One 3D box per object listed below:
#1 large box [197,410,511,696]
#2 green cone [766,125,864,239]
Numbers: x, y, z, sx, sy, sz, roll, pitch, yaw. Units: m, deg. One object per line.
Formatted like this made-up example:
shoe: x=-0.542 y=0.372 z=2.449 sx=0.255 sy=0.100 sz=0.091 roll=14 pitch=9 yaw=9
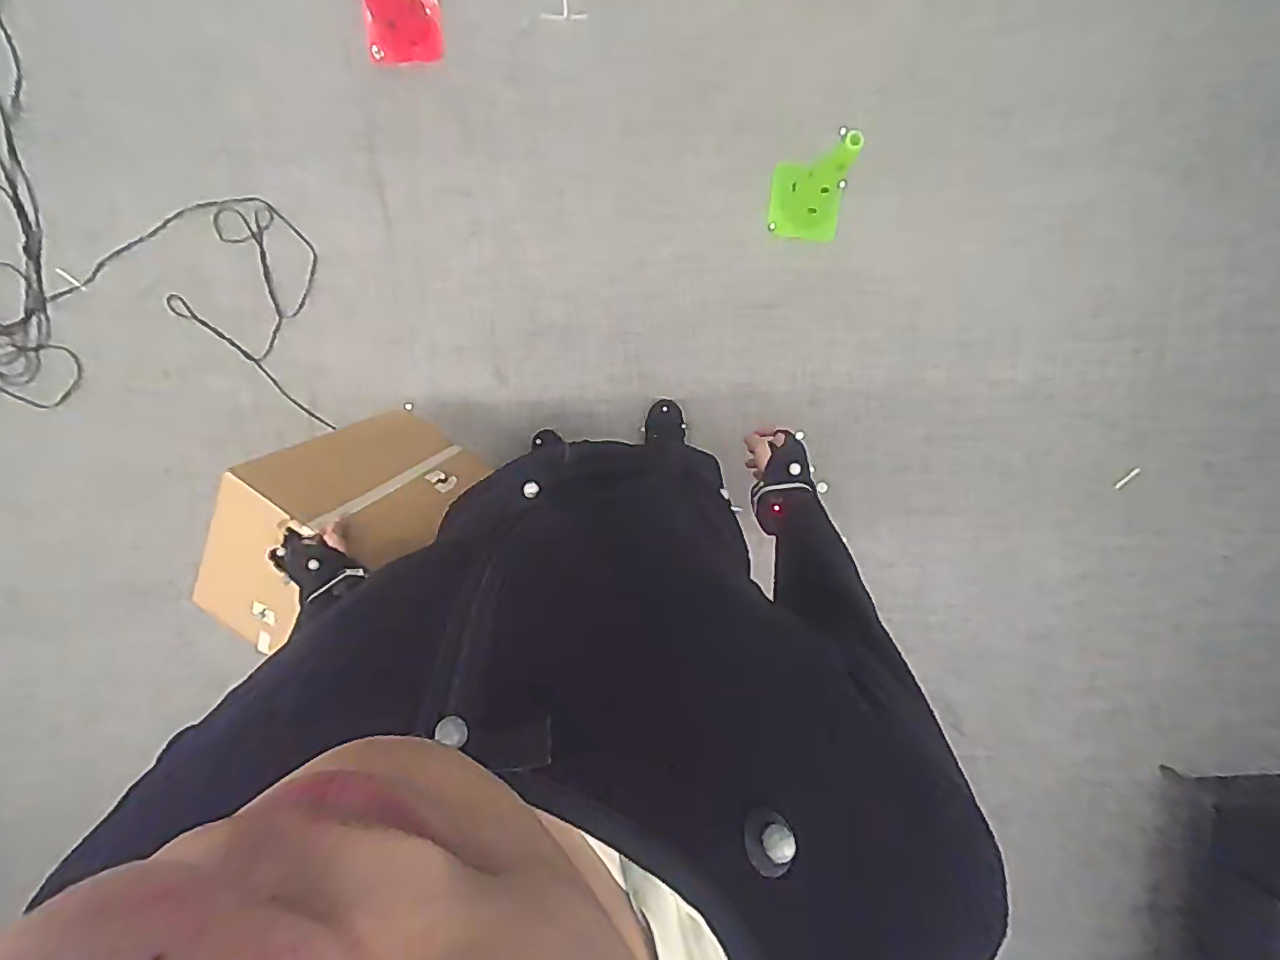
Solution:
large box: x=-0.521 y=0.116 z=1.043 sx=0.320 sy=0.408 sz=0.320 roll=36 pitch=115 yaw=0
green cone: x=0.471 y=-0.776 z=1.367 sx=0.200 sy=0.368 sz=0.202 roll=5 pitch=96 yaw=-3
